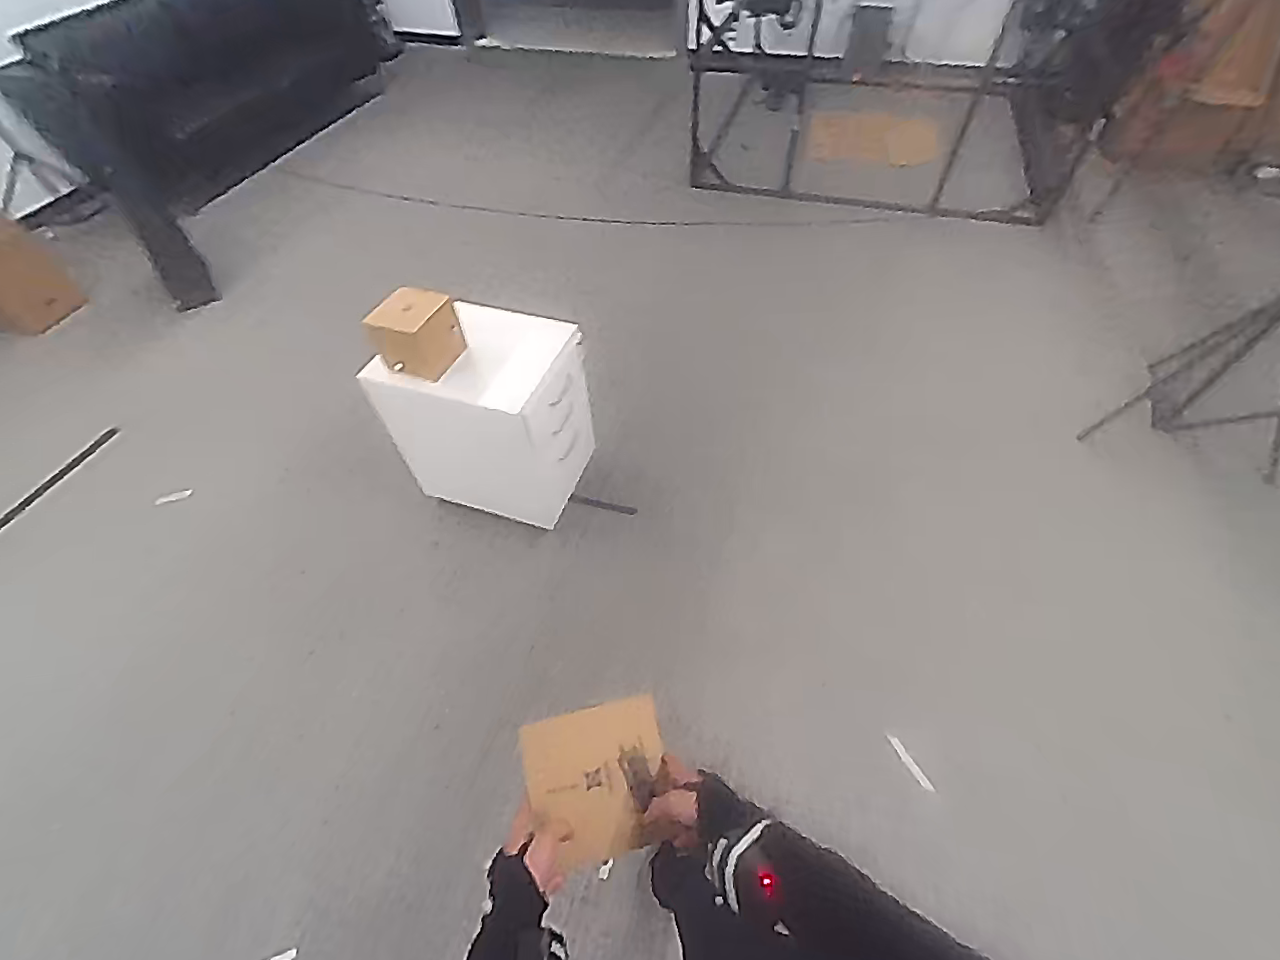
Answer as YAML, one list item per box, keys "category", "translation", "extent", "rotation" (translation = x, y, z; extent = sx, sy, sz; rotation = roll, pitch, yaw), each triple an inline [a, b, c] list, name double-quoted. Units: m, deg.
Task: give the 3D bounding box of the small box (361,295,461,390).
- category: "small box"
  translation: [-0.613, -0.376, 1.481]
  extent: [0.168, 0.176, 0.179]
  rotation: [14, 53, 14]

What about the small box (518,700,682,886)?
- category: "small box"
  translation: [-0.063, 0.407, 0.726]
  extent: [0.179, 0.176, 0.168]
  rotation: [-10, 64, -14]
